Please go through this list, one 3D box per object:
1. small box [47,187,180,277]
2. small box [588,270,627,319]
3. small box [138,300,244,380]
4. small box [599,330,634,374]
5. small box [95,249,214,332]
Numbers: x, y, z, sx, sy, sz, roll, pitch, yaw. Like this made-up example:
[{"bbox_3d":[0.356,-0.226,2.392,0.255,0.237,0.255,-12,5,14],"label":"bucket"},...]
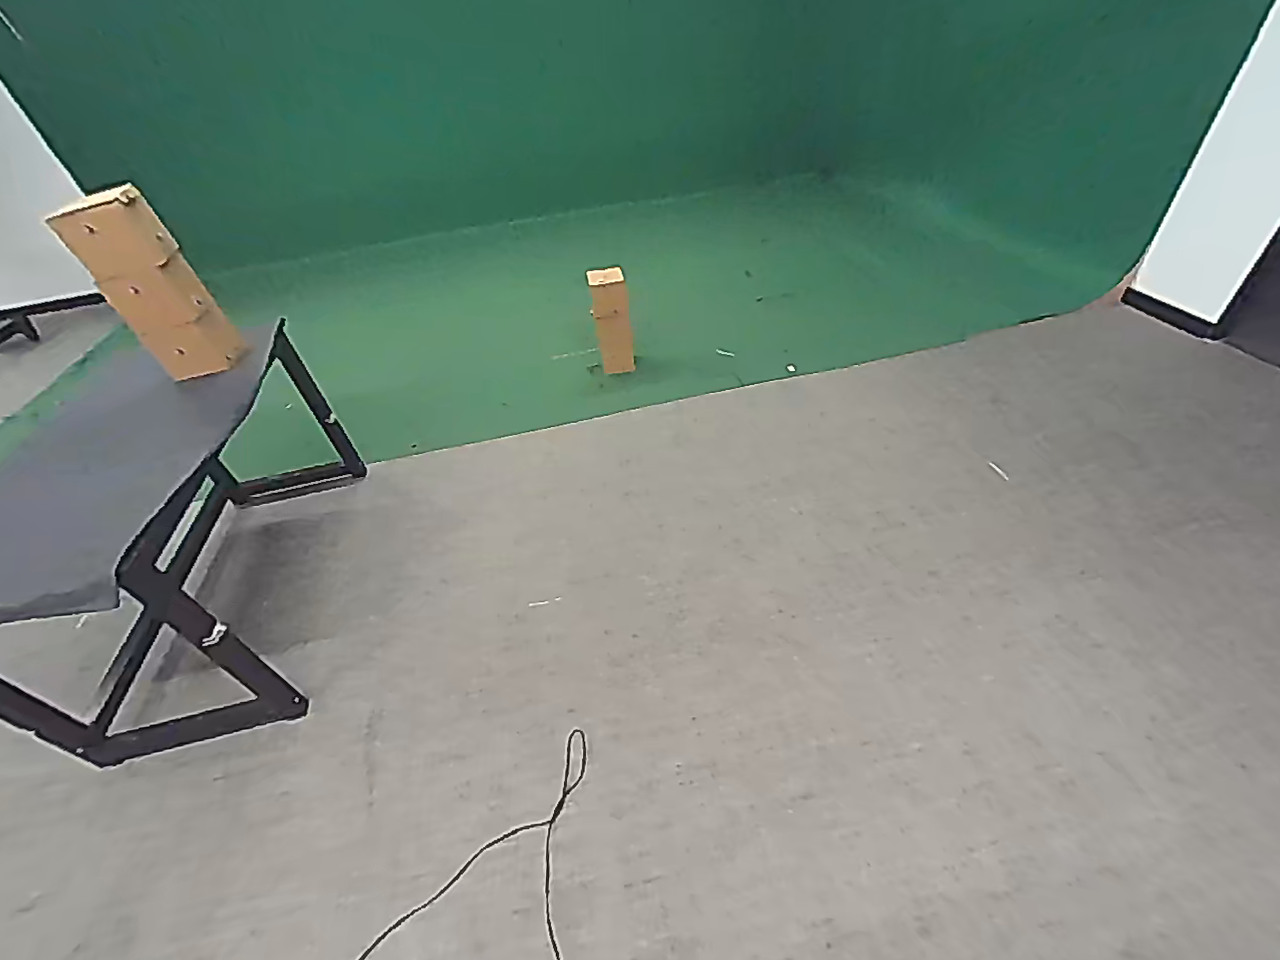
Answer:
[{"bbox_3d":[-1.442,-0.683,1.495,0.179,0.176,0.168,-19,46,-9],"label":"small box"},{"bbox_3d":[-0.159,-0.907,2.641,0.168,0.176,0.179,-9,42,-3],"label":"small box"},{"bbox_3d":[-1.412,-0.444,1.717,0.179,0.176,0.168,-14,44,-3],"label":"small box"},{"bbox_3d":[-0.124,-0.674,2.871,0.168,0.176,0.179,-7,42,0],"label":"small box"},{"bbox_3d":[-1.428,-0.561,1.606,0.179,0.176,0.168,-16,45,-7],"label":"small box"}]
